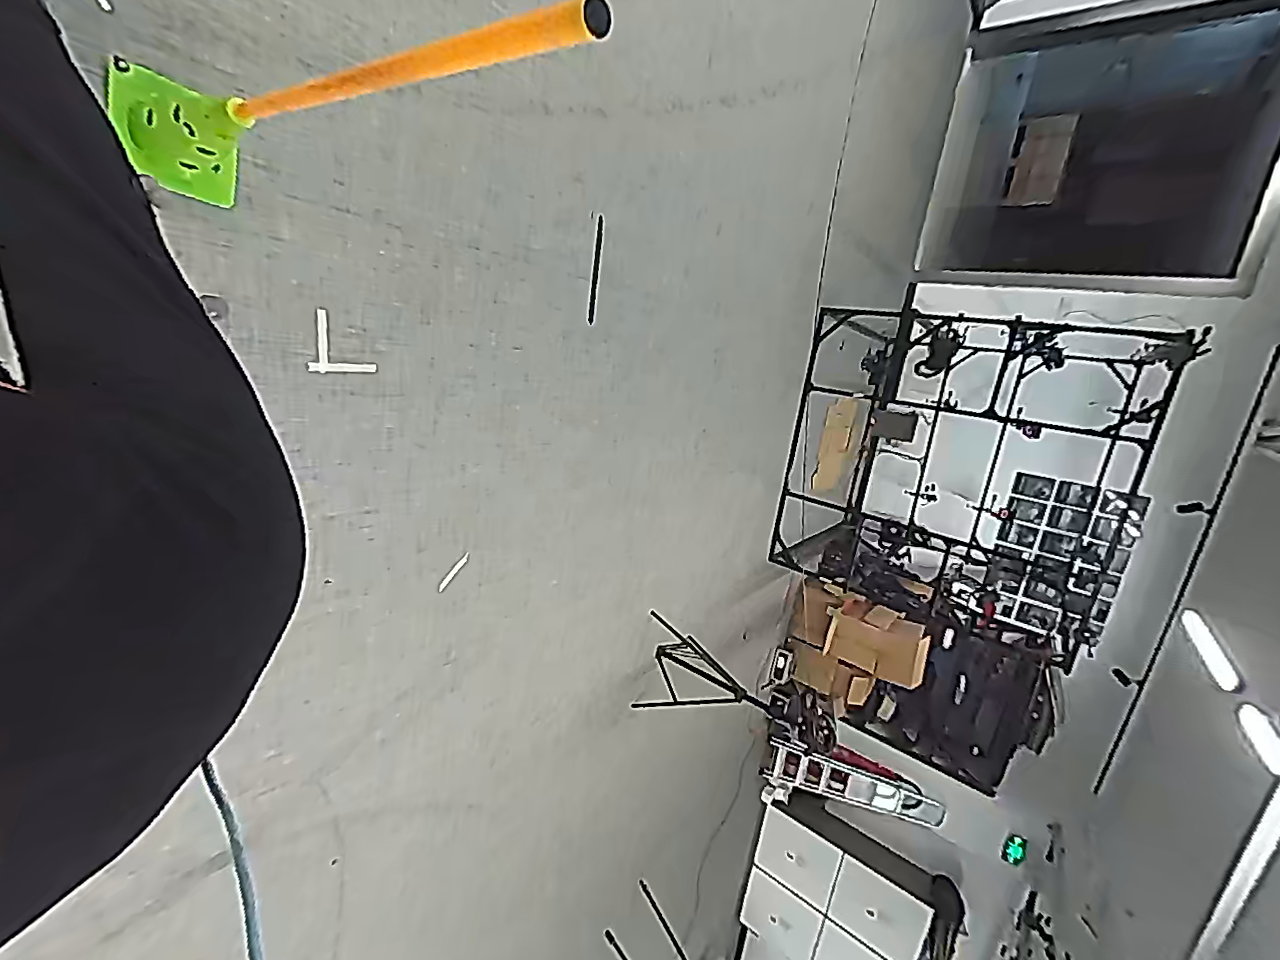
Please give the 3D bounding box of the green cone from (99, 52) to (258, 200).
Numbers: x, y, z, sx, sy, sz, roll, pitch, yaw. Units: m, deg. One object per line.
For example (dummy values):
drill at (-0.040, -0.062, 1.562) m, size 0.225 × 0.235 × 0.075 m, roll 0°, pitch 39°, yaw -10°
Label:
green cone at (-0.793, -0.645, 0.975) m, size 0.202 × 0.368 × 0.200 m, roll -3°, pitch 107°, yaw -55°
